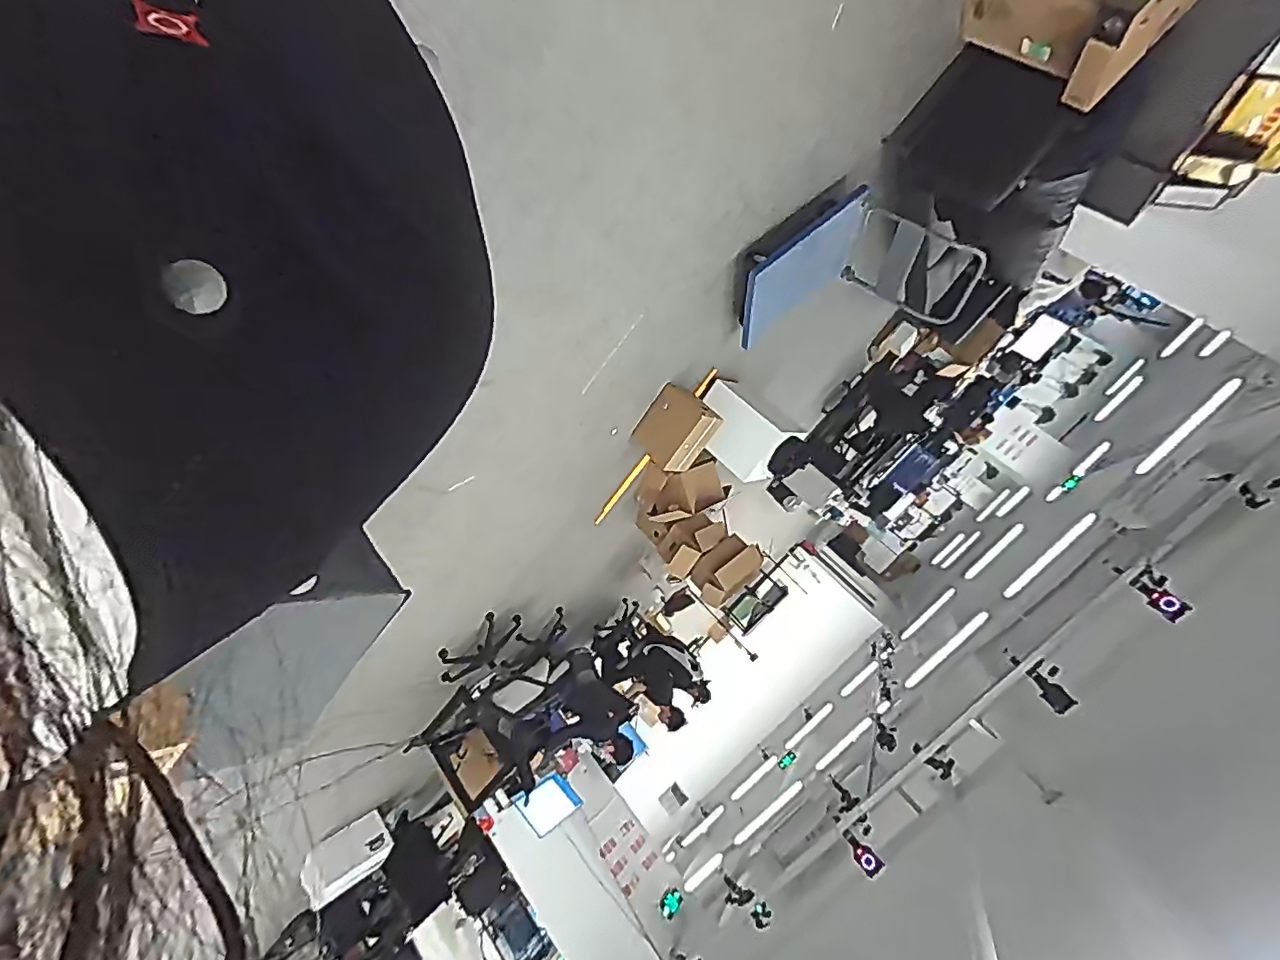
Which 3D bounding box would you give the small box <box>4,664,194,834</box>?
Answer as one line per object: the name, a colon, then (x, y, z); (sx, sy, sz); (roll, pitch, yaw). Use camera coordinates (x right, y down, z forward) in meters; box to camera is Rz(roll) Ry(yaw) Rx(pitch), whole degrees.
small box: (-0.909, 0.432, 0.908); (0.179, 0.176, 0.168); (-49, 157, 13)
